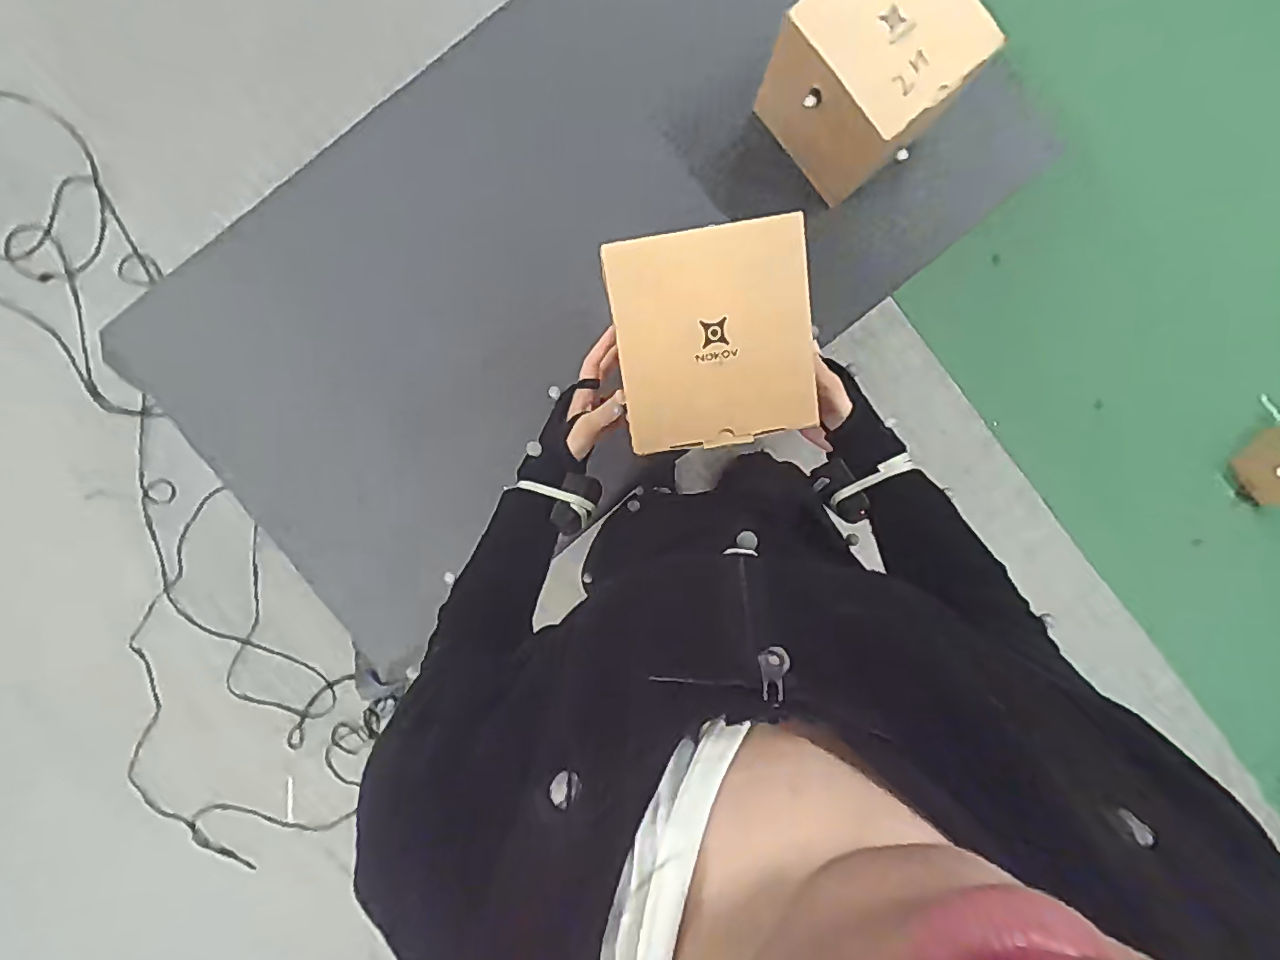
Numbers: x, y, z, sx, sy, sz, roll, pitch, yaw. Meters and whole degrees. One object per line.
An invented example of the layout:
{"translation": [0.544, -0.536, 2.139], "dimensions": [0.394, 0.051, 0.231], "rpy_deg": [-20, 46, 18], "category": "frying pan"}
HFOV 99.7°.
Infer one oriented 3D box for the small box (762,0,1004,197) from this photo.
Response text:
{"translation": [0.272, -0.489, 0.653], "dimensions": [0.168, 0.176, 0.179], "rpy_deg": [-40, 93, 4], "category": "small box"}
